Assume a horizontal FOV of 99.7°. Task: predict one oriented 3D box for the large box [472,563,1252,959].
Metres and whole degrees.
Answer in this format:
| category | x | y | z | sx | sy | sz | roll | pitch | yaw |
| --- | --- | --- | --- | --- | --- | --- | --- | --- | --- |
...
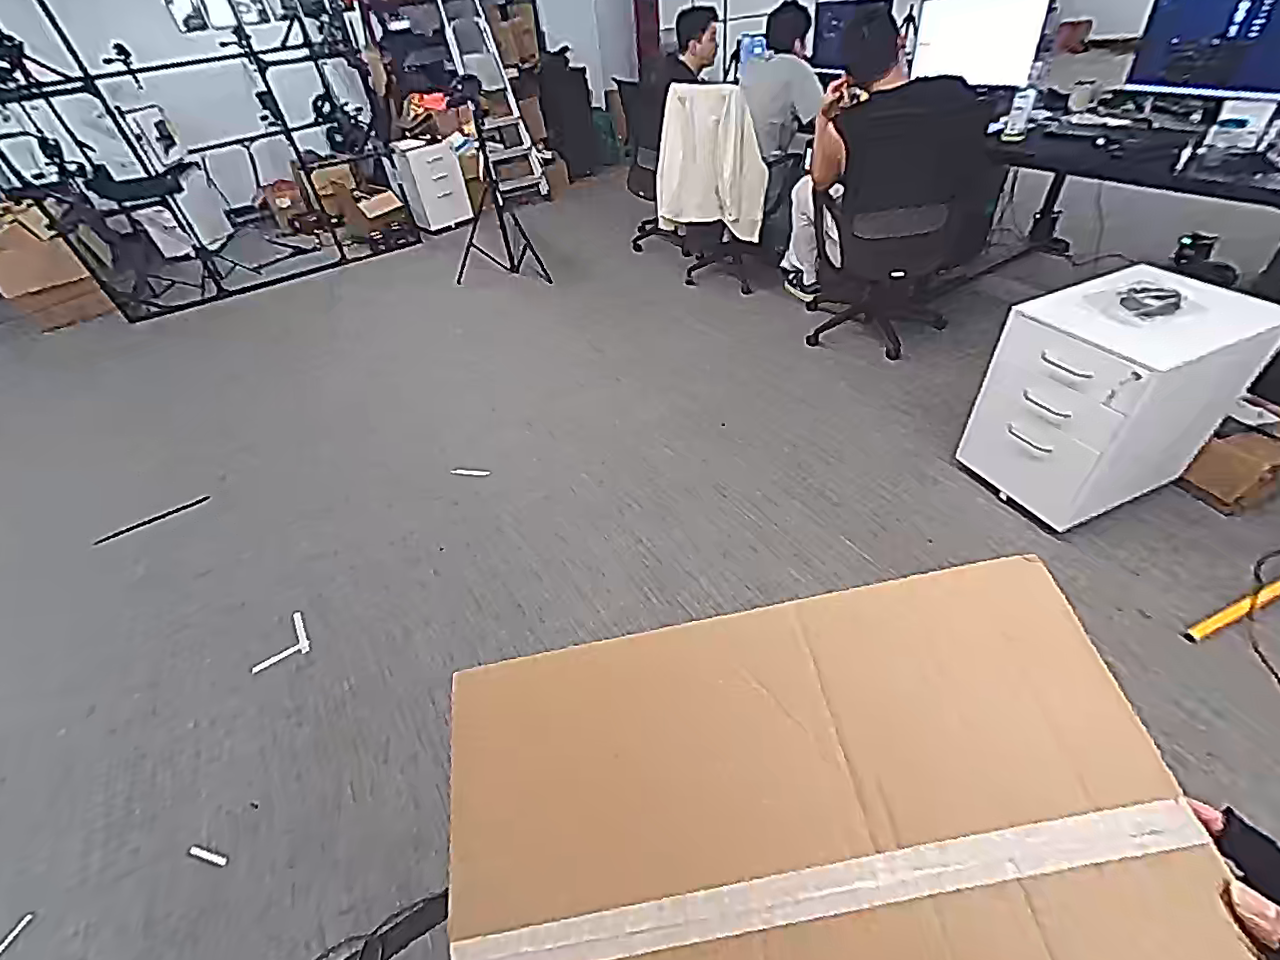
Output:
| category | x | y | z | sx | sy | sz | roll | pitch | yaw |
| --- | --- | --- | --- | --- | --- | --- | --- | --- | --- |
| large box | 0.118 | 0.303 | 0.433 | 0.408 | 0.320 | 0.320 | -12 | 61 | 1 |
